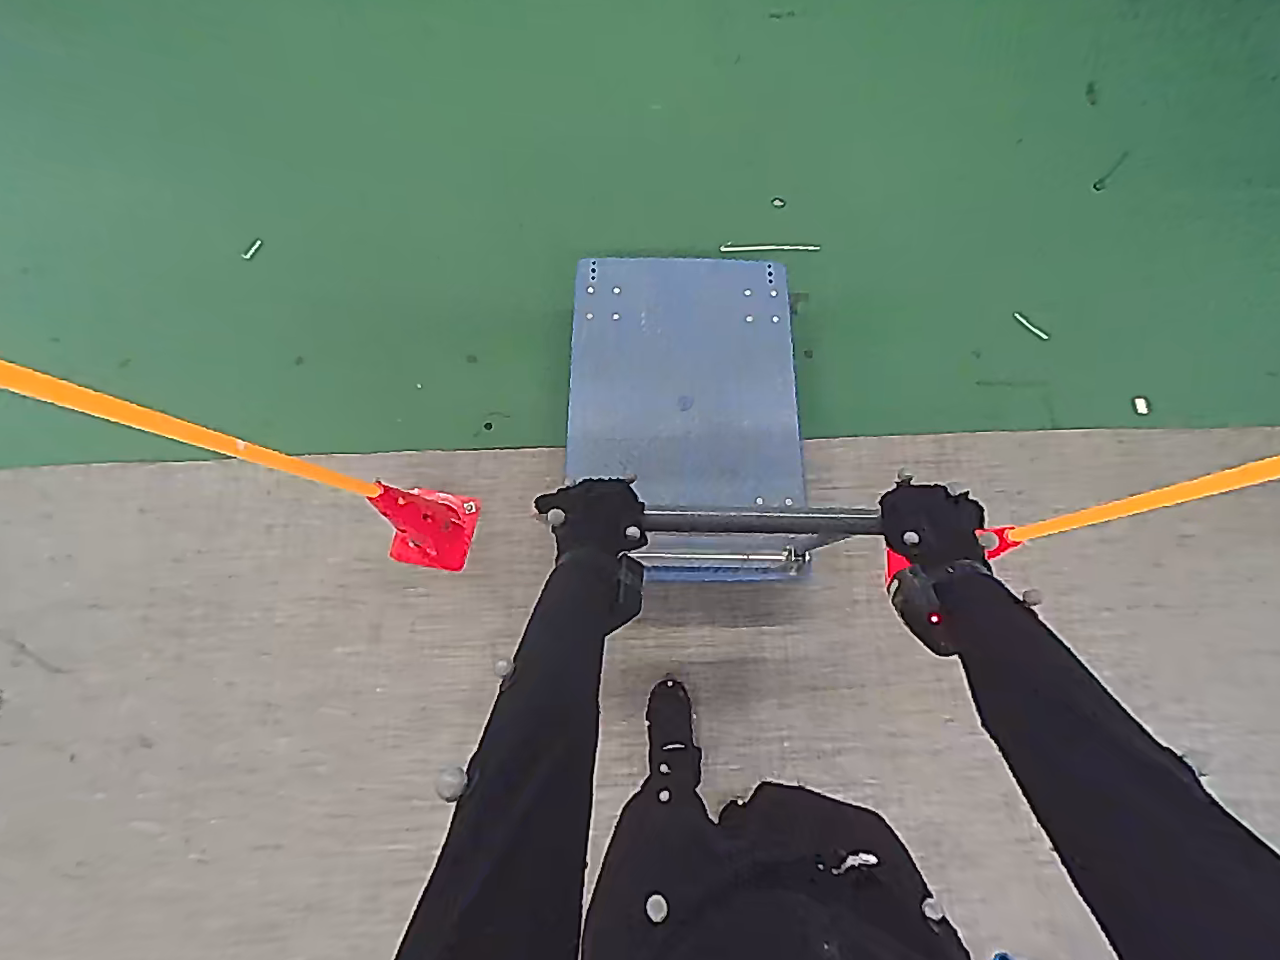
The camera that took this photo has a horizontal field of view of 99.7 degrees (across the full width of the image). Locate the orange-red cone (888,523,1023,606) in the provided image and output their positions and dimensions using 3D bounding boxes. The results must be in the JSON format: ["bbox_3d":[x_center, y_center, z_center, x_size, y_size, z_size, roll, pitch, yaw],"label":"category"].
[{"bbox_3d":[0.752,0.168,1.253,0.198,0.360,0.199,9,73,2],"label":"orange-red cone"}]
